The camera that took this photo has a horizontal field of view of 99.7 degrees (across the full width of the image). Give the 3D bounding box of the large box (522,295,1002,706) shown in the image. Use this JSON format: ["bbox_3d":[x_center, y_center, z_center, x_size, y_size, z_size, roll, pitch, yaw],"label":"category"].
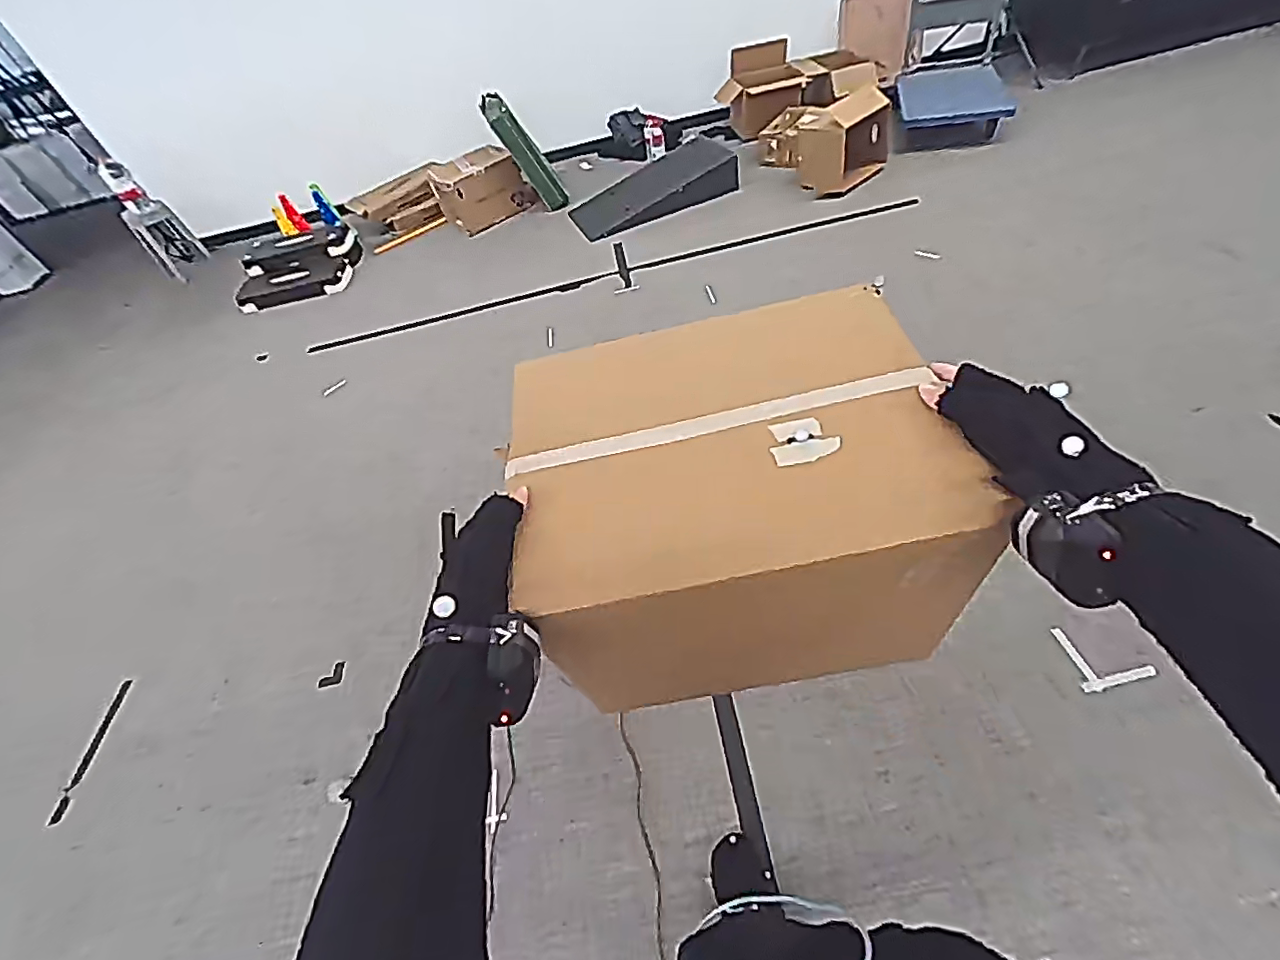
[{"bbox_3d":[0.100,0.039,0.644,0.408,0.320,0.320,-12,53,3],"label":"large box"}]
